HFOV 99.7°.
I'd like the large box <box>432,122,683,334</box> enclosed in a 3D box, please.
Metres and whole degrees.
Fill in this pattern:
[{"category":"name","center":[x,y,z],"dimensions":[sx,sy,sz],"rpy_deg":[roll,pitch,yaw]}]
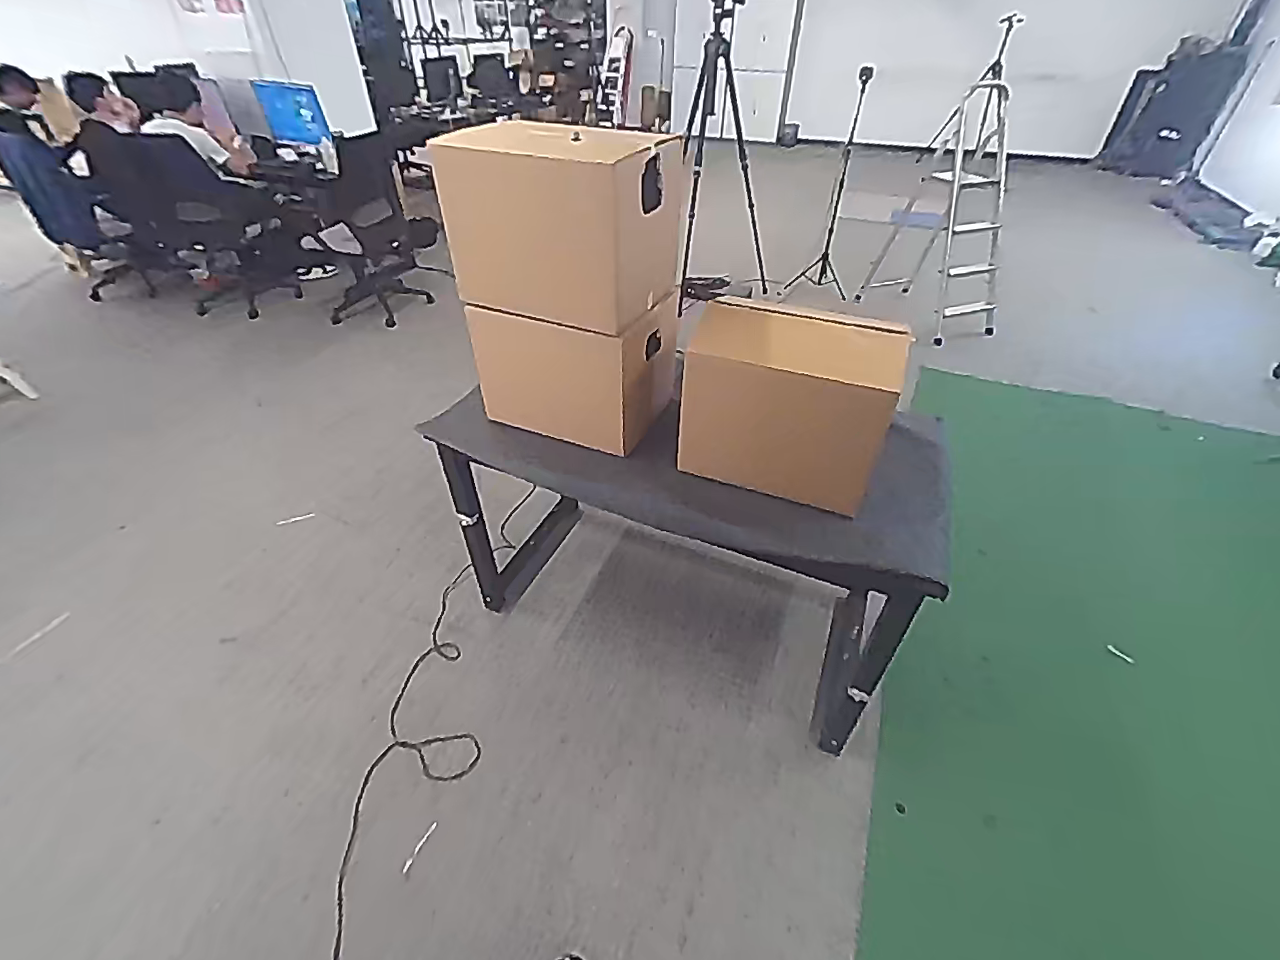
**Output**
[{"category":"large box","center":[-0.160,-0.550,1.157],"dimensions":[0.408,0.320,0.320],"rpy_deg":[19,44,17]}]
